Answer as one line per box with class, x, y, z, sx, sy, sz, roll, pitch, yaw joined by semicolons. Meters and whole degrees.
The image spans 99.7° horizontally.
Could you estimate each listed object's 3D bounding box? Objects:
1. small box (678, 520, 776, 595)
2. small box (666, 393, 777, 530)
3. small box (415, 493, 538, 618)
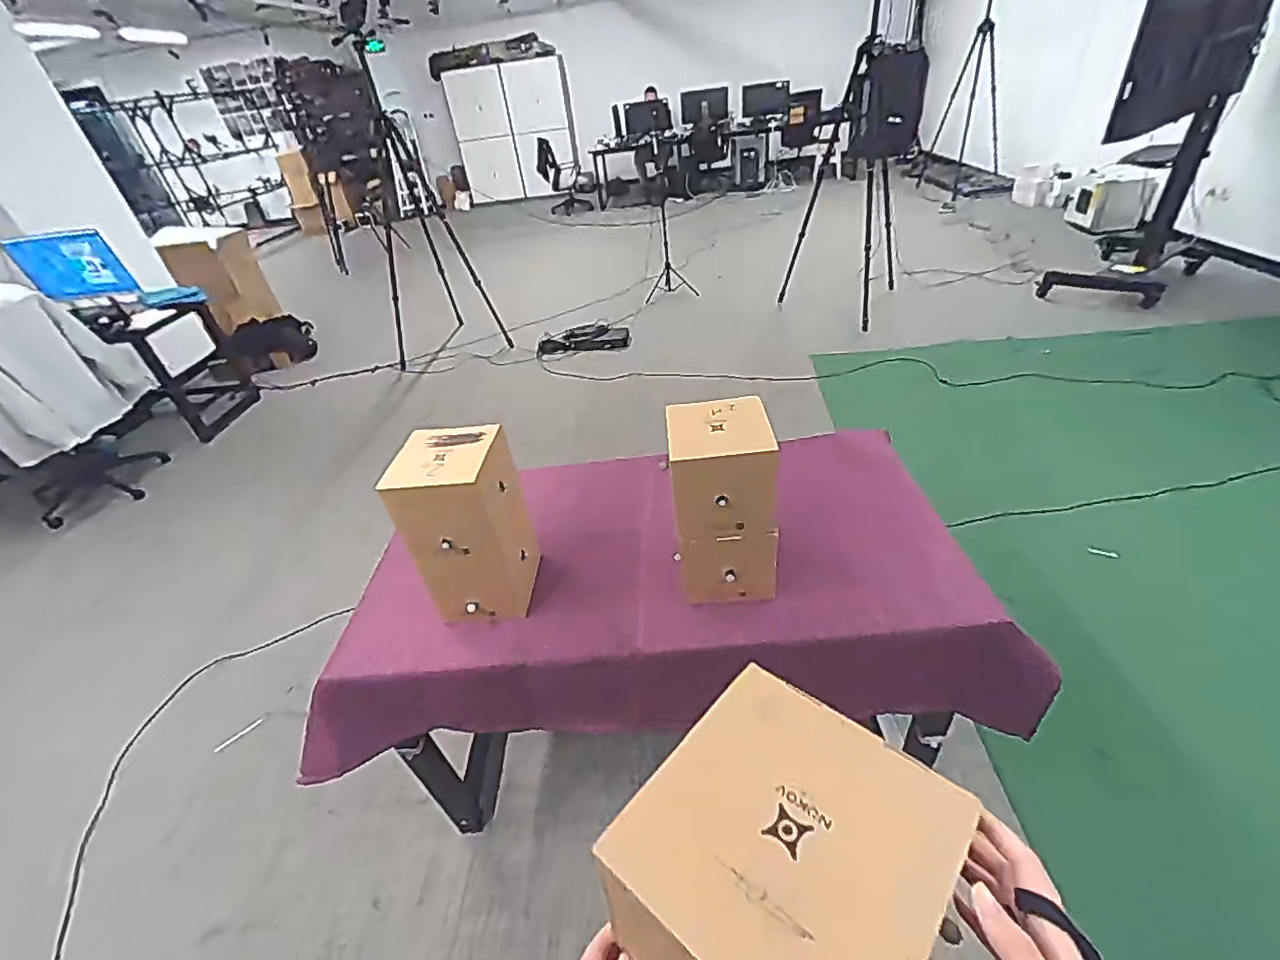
small box;0.159;0.103;1.021;0.168;0.176;0.179;-5;38;4
small box;0.135;-0.027;0.921;0.168;0.176;0.179;-5;37;4
small box;-0.304;0.147;1.054;0.168;0.176;0.179;-4;38;6
